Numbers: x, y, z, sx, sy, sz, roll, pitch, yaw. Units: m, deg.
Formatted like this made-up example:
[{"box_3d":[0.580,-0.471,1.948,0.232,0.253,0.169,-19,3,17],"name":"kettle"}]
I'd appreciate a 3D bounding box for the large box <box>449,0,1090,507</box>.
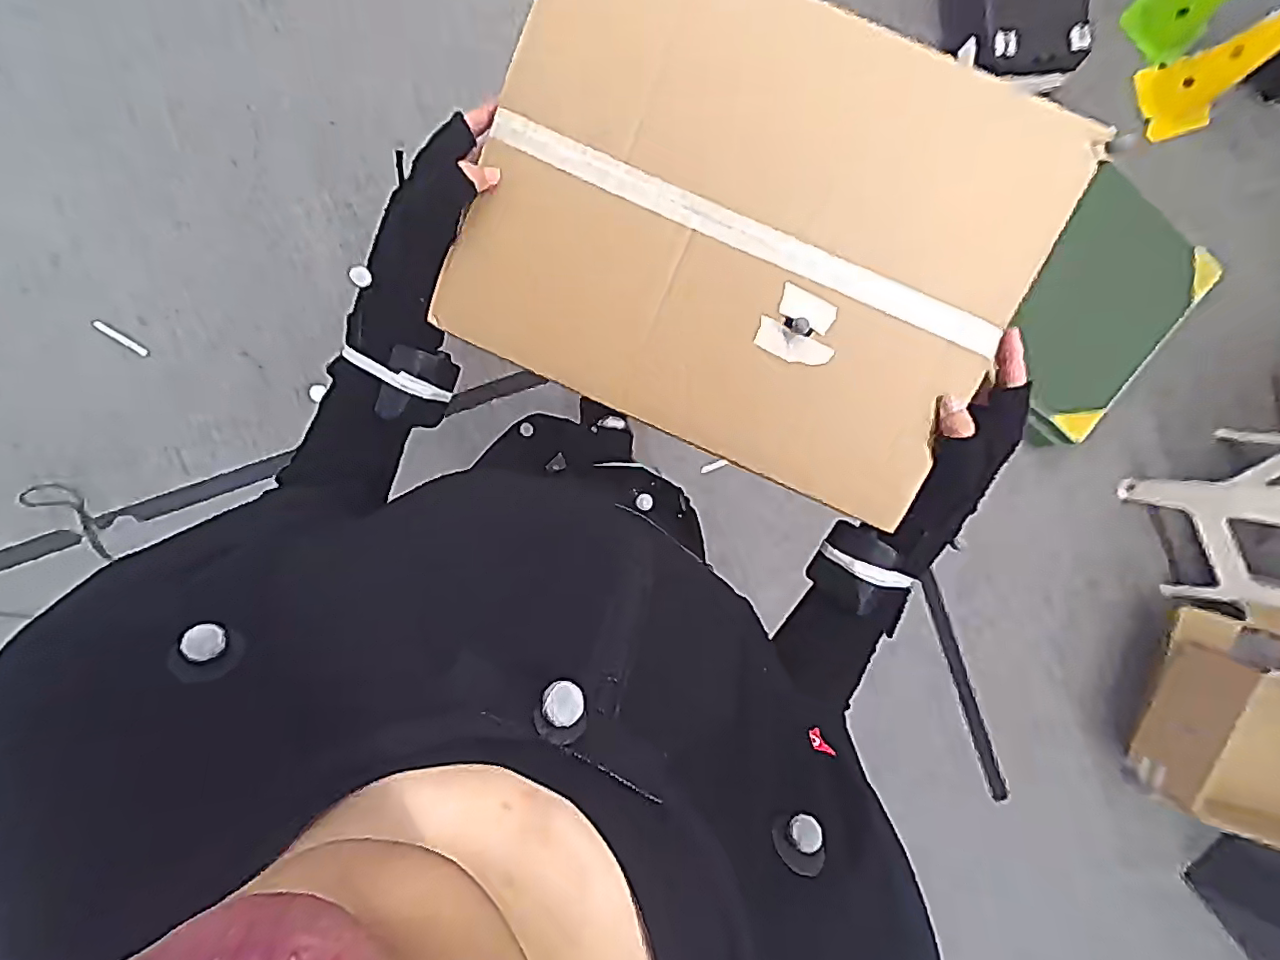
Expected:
[{"box_3d":[0.093,-0.215,0.559,0.408,0.320,0.320,25,101,0],"name":"large box"}]
